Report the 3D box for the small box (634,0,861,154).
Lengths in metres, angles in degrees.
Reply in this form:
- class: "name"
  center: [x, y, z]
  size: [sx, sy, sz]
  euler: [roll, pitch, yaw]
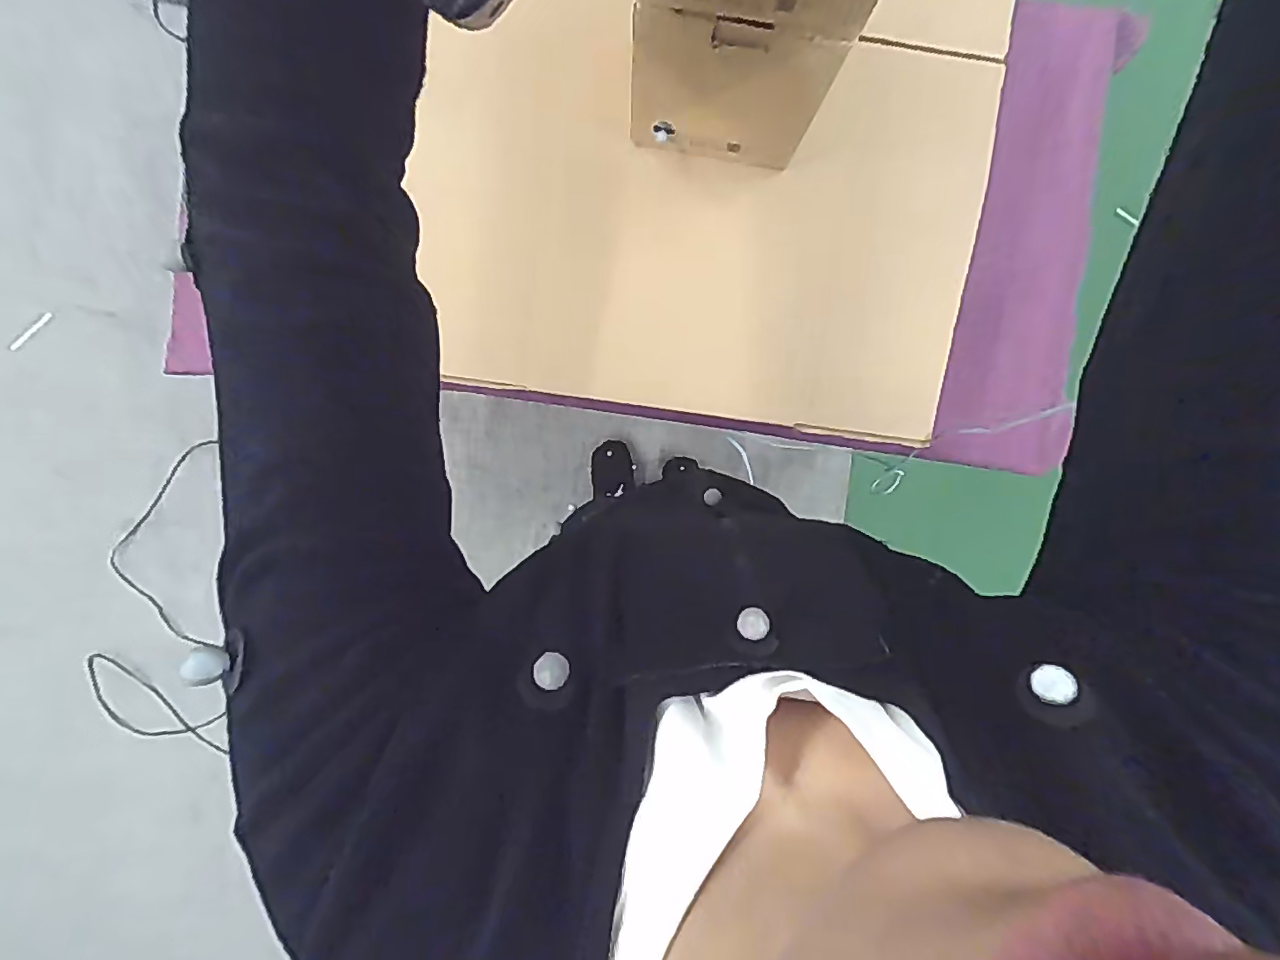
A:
- class: "small box"
  center: [0.084, -0.416, 0.467]
  size: [0.168, 0.176, 0.179]
  euler: [5, 93, -2]
